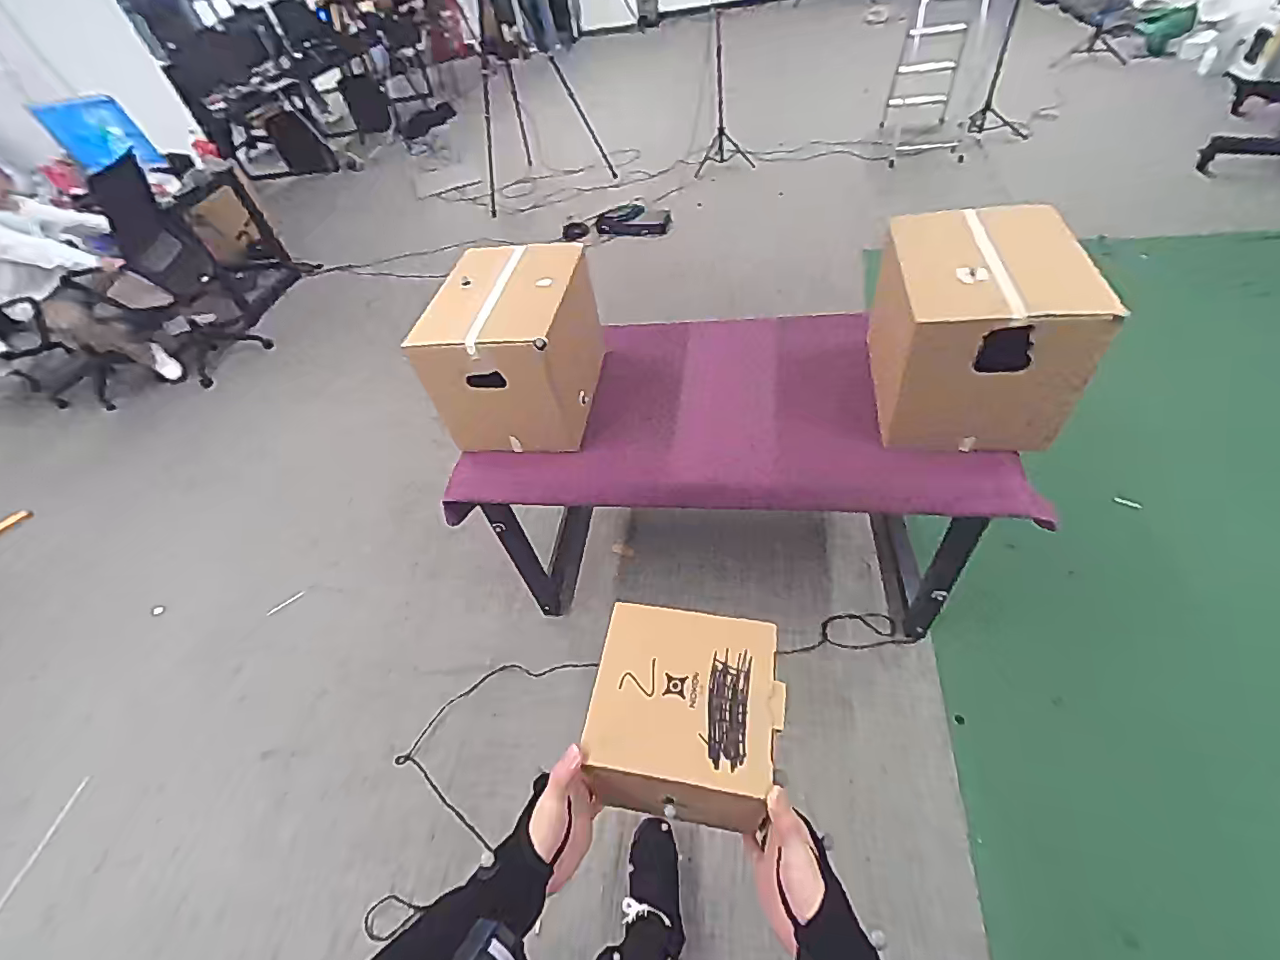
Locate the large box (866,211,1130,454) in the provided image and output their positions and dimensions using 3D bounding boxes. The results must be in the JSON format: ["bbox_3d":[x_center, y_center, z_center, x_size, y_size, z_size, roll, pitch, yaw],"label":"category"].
[{"bbox_3d":[0.673,-0.303,1.114,0.320,0.320,0.408,2,50,13],"label":"large box"}]
